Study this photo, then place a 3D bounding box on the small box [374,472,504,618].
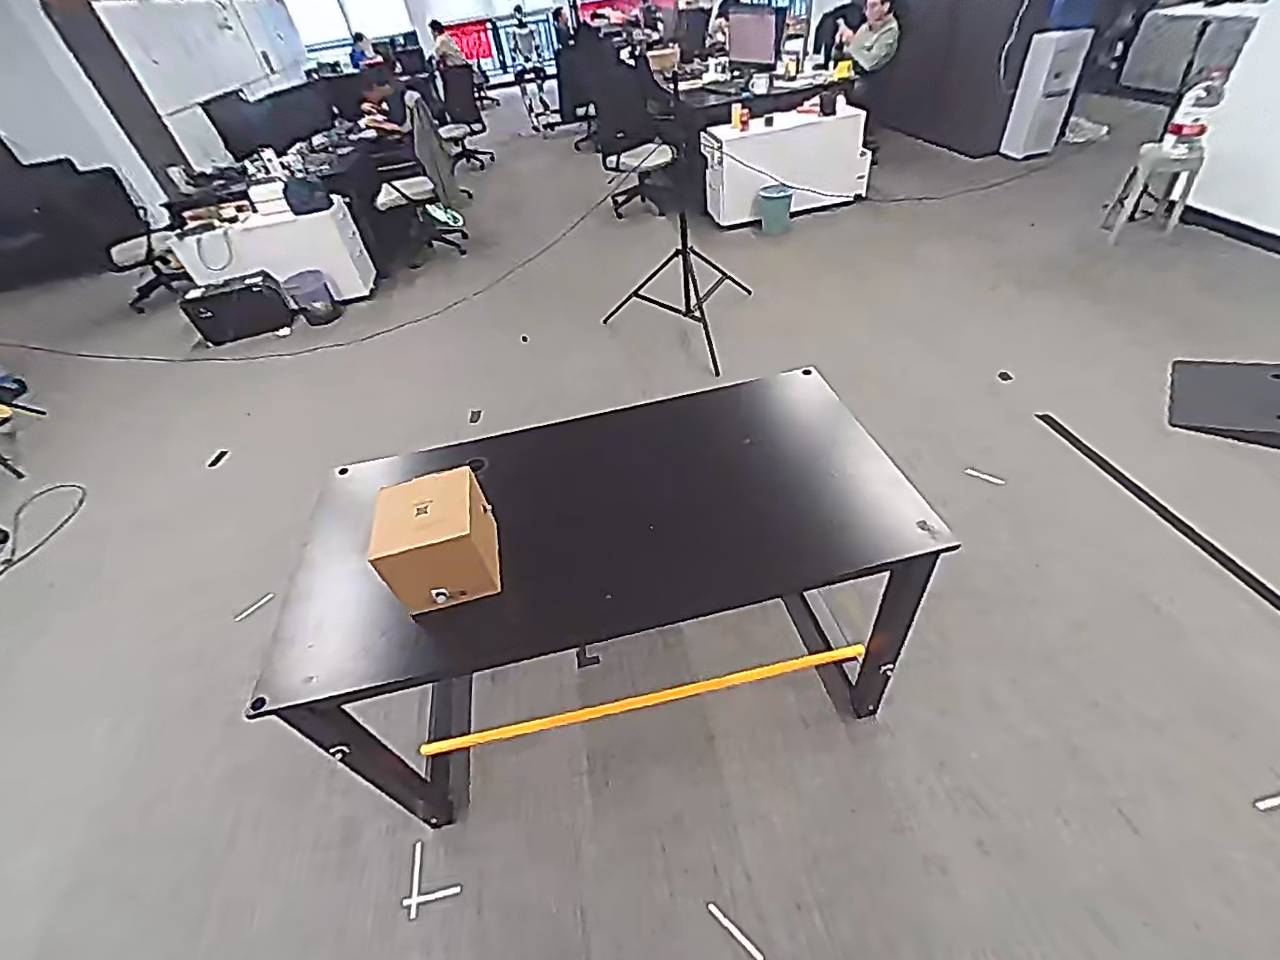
[{"bbox_3d":[-0.355,0.117,0.982,0.168,0.176,0.179,-16,44,-5],"label":"small box"}]
